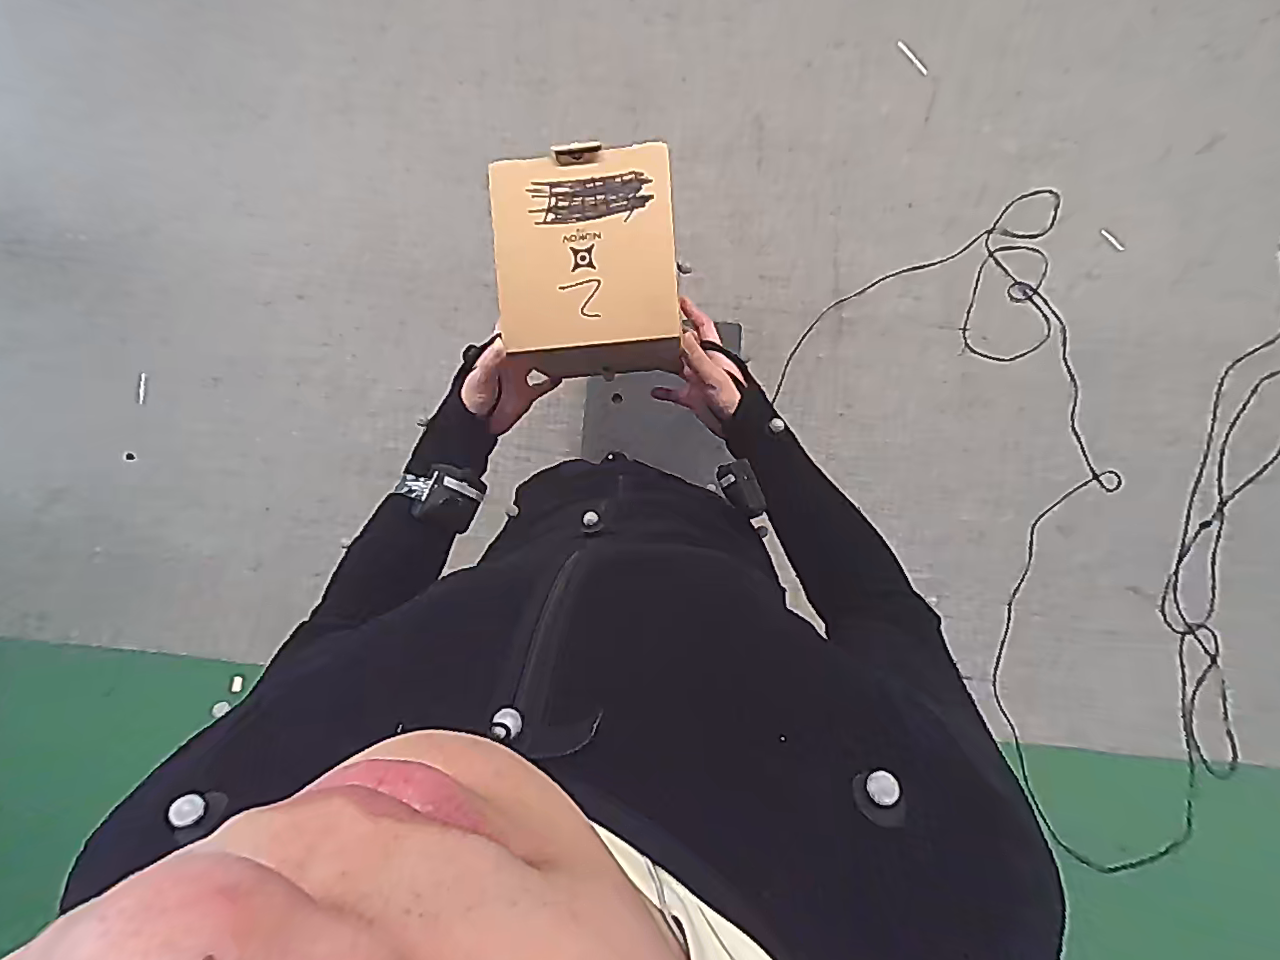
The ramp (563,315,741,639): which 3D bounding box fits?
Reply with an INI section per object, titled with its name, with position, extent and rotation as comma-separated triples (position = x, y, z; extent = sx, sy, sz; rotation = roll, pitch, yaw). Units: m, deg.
[ramp]
position = 0.048, -0.038, 1.680
extent = 0.509, 0.206, 0.991
rotation = 3, 89, 2
